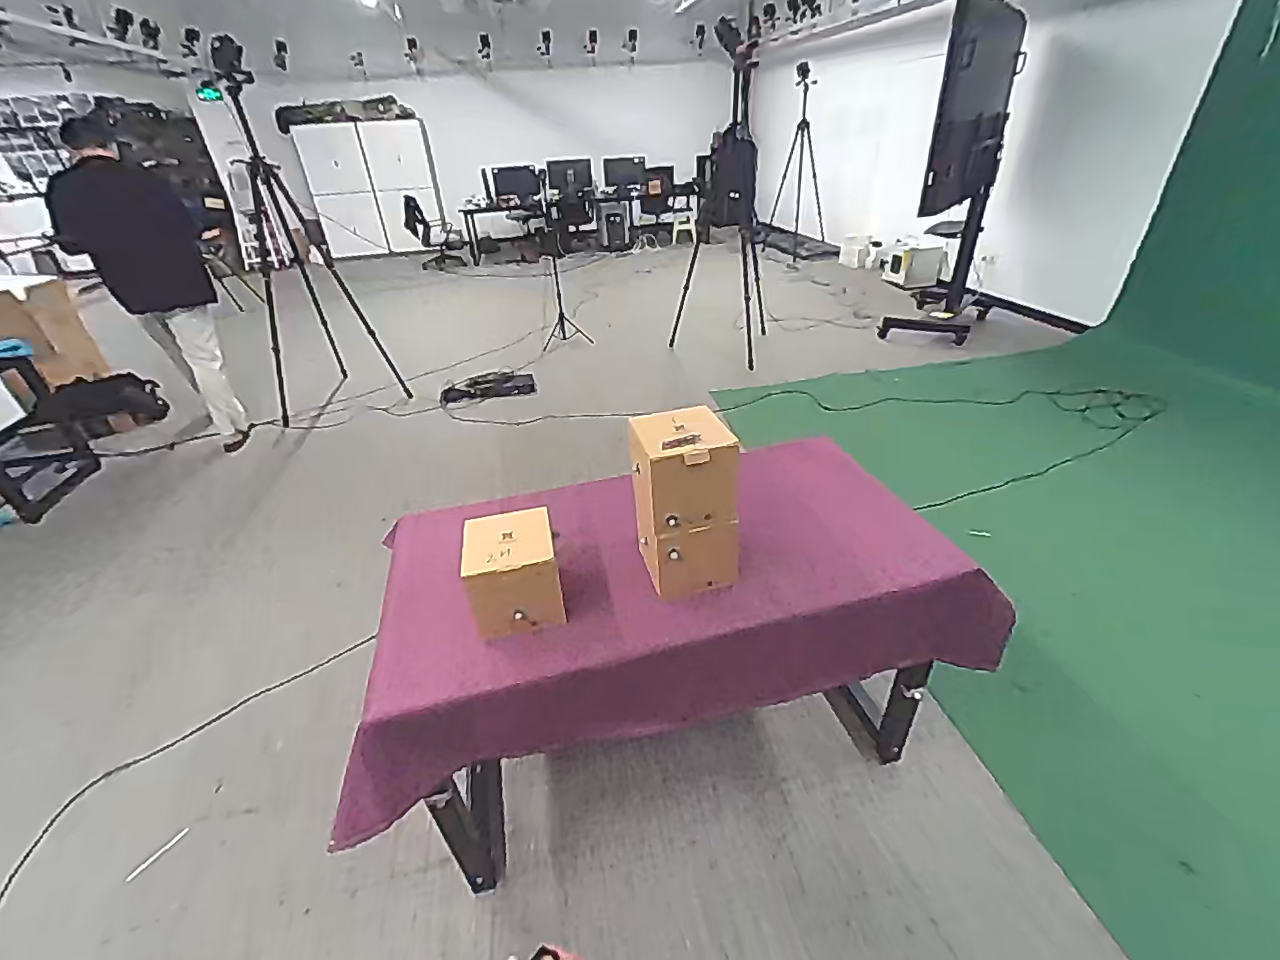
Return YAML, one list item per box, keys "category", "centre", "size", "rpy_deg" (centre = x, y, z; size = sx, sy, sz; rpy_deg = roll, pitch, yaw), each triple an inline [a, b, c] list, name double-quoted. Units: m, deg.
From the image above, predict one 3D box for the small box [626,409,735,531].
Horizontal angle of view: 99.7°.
- category: "small box"
  centre: [0.077, -0.016, 1.043]
  size: [0.168, 0.176, 0.179]
  rpy_deg: [-11, 31, -10]

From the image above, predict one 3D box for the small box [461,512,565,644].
- category: "small box"
  centre: [-0.246, 0.190, 1.064]
  size: [0.168, 0.176, 0.179]
  rpy_deg: [-11, 33, -9]
